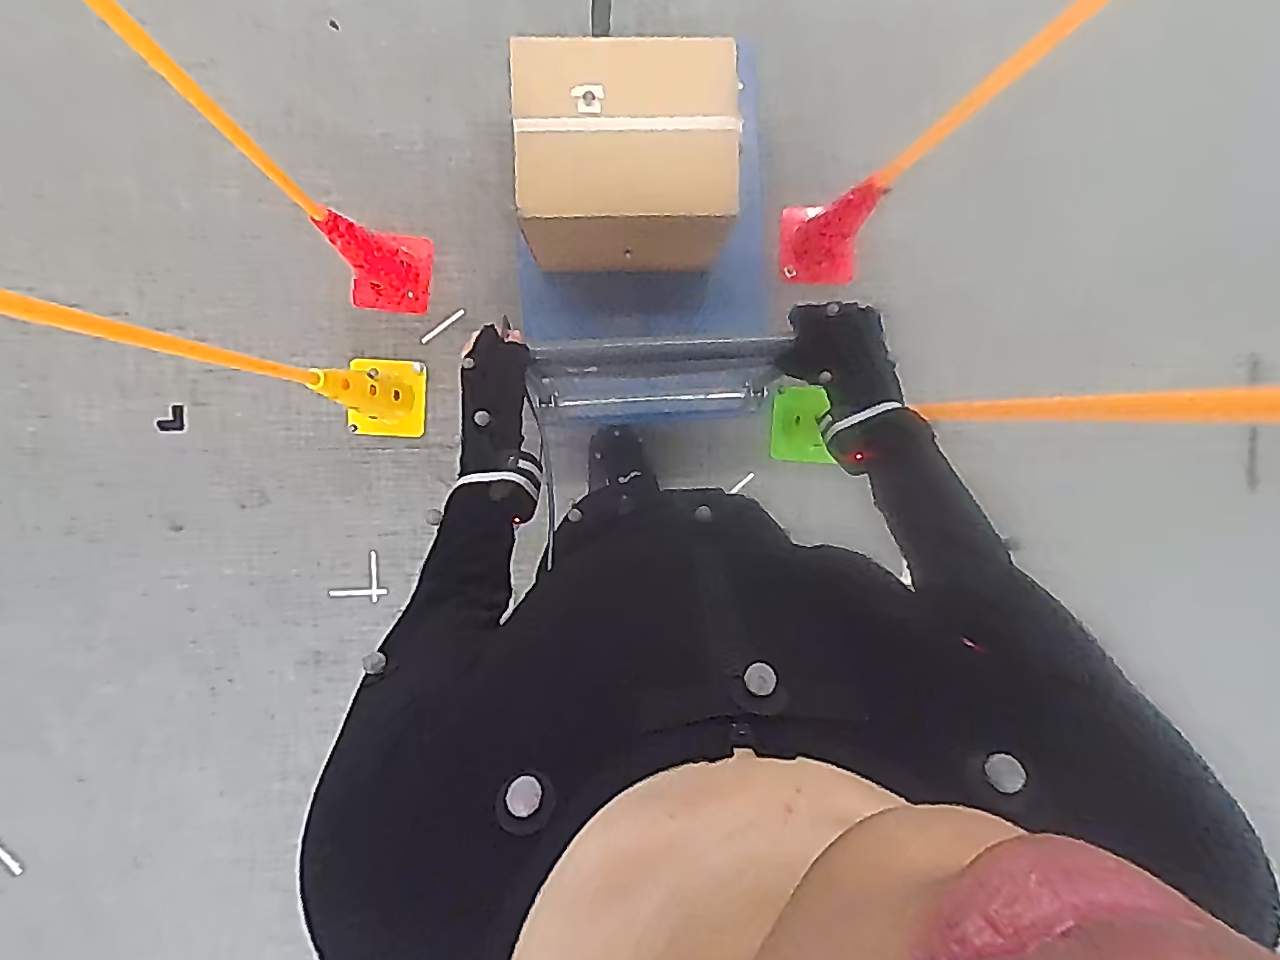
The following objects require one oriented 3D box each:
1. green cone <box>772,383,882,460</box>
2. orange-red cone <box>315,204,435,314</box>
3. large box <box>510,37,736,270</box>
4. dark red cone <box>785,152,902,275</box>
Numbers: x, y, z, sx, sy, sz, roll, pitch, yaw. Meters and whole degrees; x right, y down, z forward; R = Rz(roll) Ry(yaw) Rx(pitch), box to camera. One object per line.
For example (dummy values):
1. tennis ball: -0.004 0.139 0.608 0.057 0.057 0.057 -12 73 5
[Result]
1. green cone: 0.470 -0.151 1.299 0.202 0.368 0.200 3 92 -3
2. orange-red cone: -0.641 -0.542 1.255 0.198 0.360 0.199 7 91 -3
3. large box: -0.030 -0.642 1.121 0.408 0.320 0.320 -2 93 -1
4. dark red cone: 0.489 -0.635 1.261 0.201 0.394 0.202 0 93 -3
